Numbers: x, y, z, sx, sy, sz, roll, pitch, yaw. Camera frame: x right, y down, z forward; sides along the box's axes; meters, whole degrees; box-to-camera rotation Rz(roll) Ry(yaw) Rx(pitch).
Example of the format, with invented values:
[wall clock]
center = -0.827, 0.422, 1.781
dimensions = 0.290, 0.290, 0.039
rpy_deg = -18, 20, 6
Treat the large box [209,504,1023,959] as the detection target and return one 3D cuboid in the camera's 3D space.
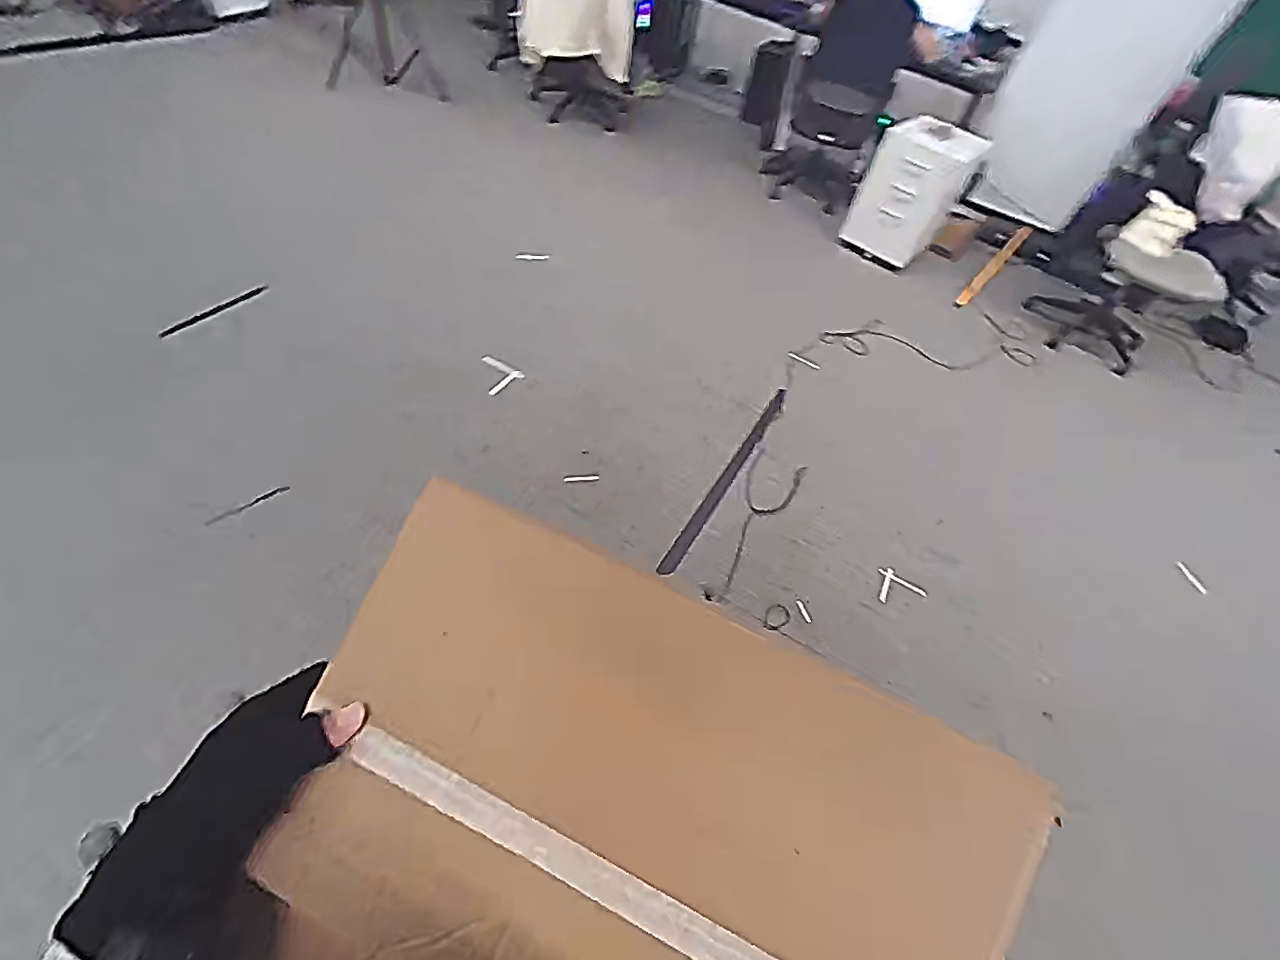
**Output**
[large box]
center = -0.009, 0.251, 0.464
dimensions = 0.408, 0.320, 0.320
rpy_deg = 25, 83, 8
